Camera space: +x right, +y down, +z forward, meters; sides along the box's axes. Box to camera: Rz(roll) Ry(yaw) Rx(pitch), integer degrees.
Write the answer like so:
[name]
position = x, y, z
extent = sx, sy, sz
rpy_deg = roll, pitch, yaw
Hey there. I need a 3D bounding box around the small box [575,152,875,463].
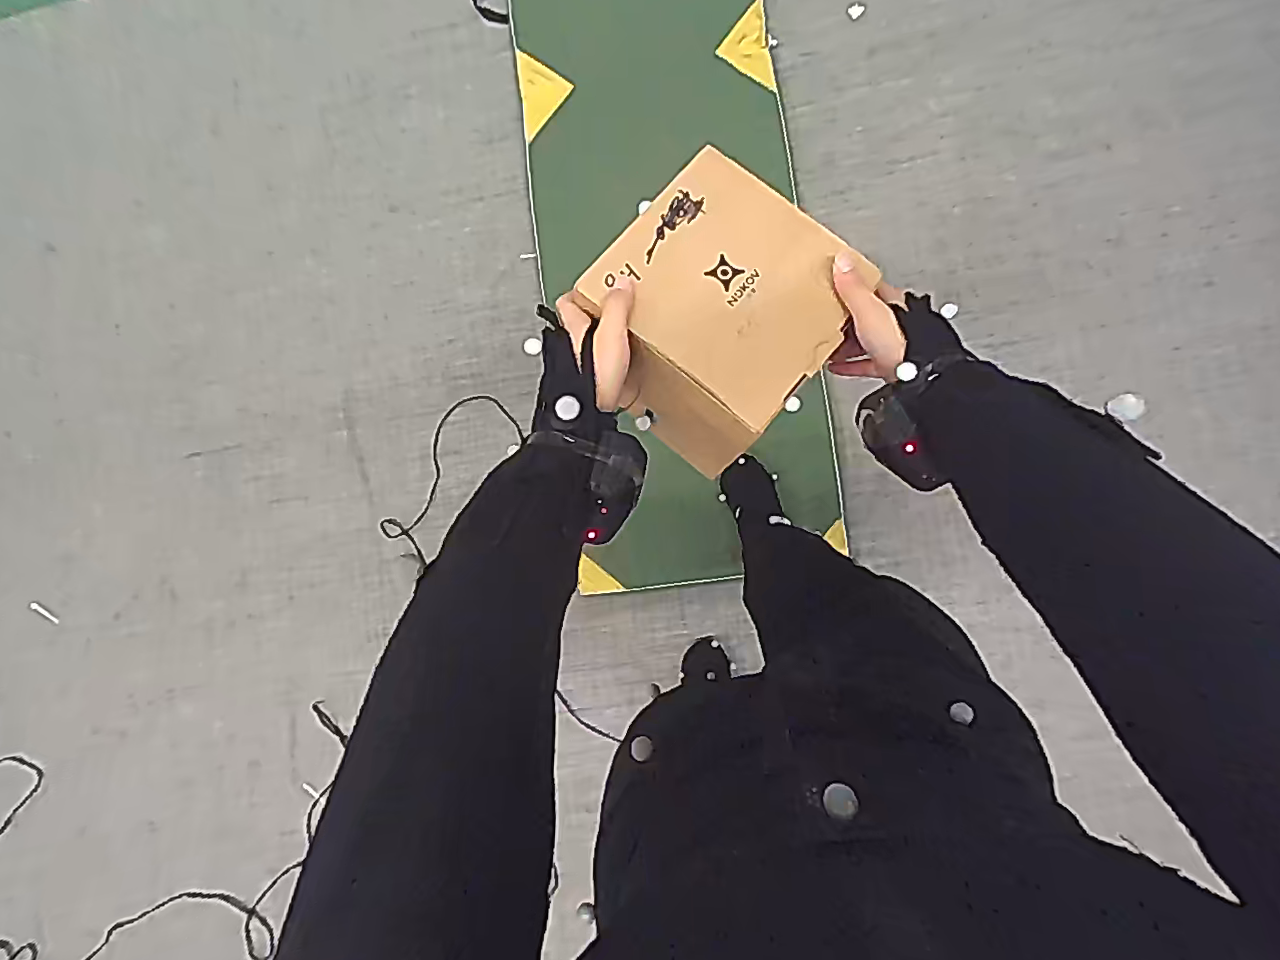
[small box]
position = 0.061, -0.132, 0.486
extent = 0.179, 0.176, 0.168
rpy_deg = 40, 78, 3
